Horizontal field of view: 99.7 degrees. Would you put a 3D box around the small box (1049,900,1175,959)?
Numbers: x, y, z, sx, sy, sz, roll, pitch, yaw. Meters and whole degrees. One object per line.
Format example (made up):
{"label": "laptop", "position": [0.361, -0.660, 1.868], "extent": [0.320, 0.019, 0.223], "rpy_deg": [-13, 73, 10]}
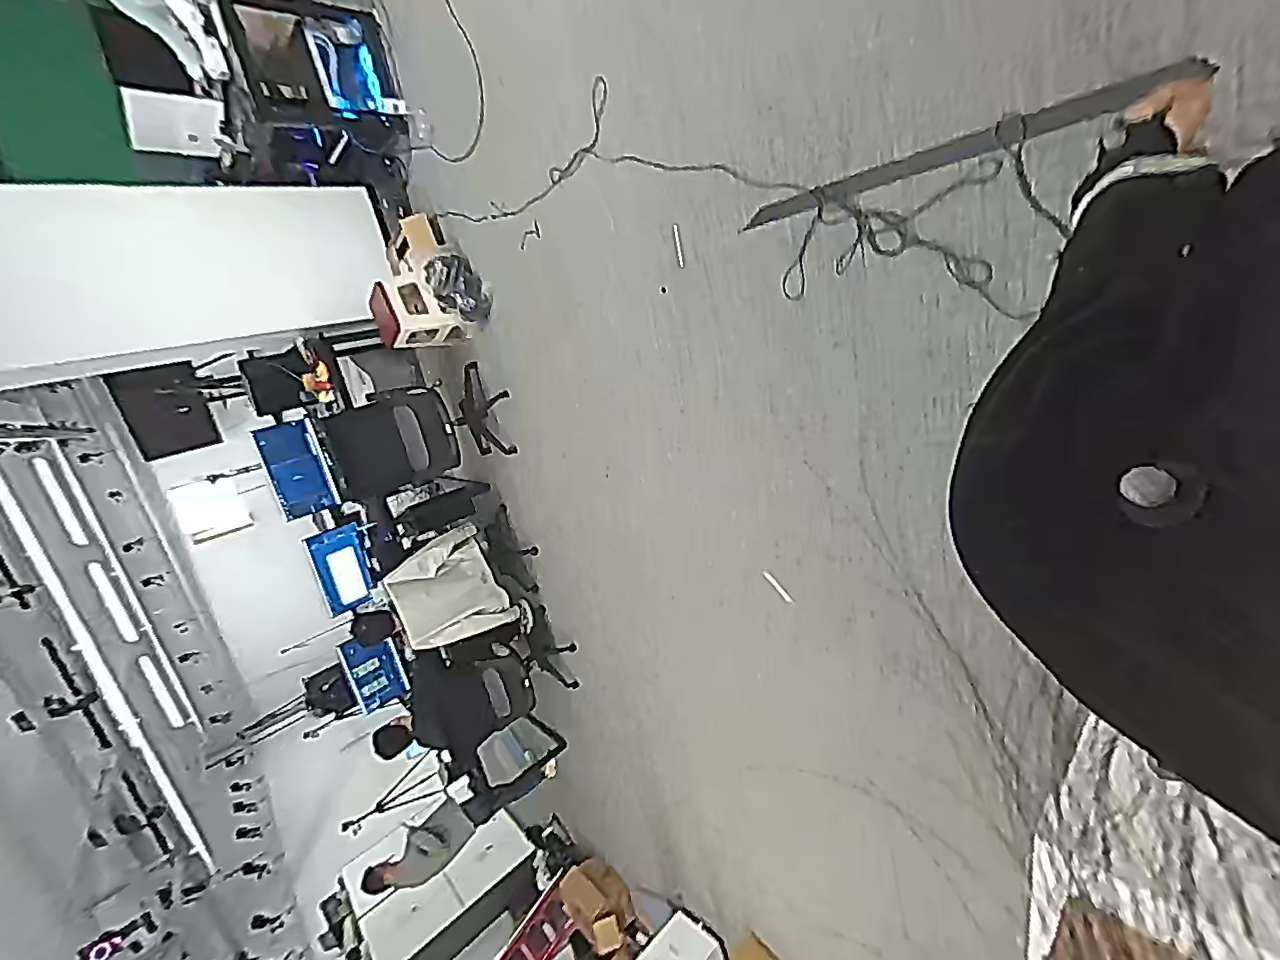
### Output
{"label": "small box", "position": [0.793, 0.873, 0.908], "extent": [0.168, 0.176, 0.179], "rpy_deg": [11, 117, 48]}
